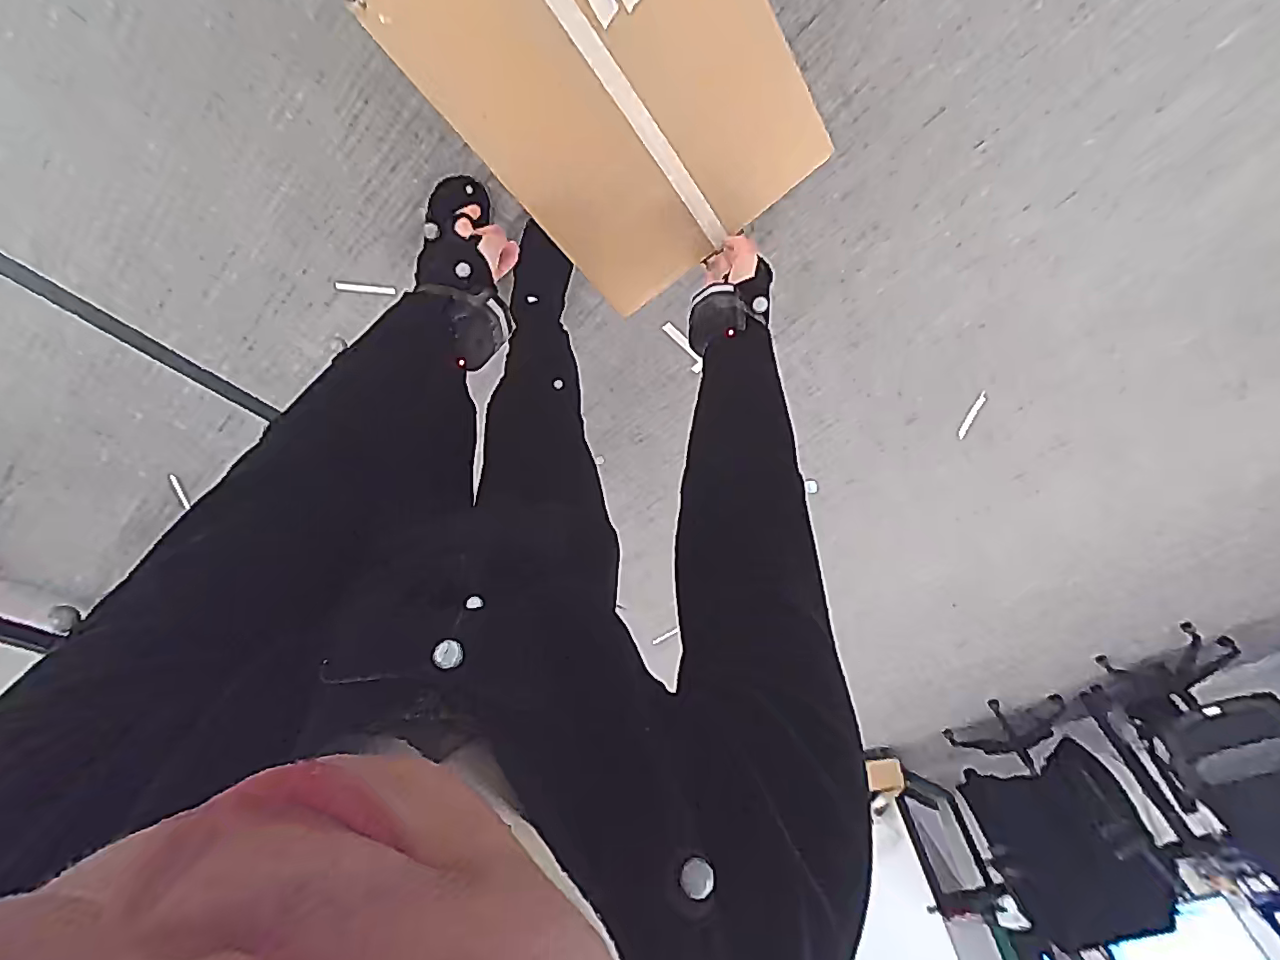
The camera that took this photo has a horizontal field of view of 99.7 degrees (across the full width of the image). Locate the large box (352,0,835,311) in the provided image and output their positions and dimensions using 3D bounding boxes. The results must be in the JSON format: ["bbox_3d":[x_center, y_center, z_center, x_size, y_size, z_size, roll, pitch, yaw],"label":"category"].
[{"bbox_3d":[-0.033,-0.500,0.654,0.320,0.320,0.408,-33,127,21],"label":"large box"}]
